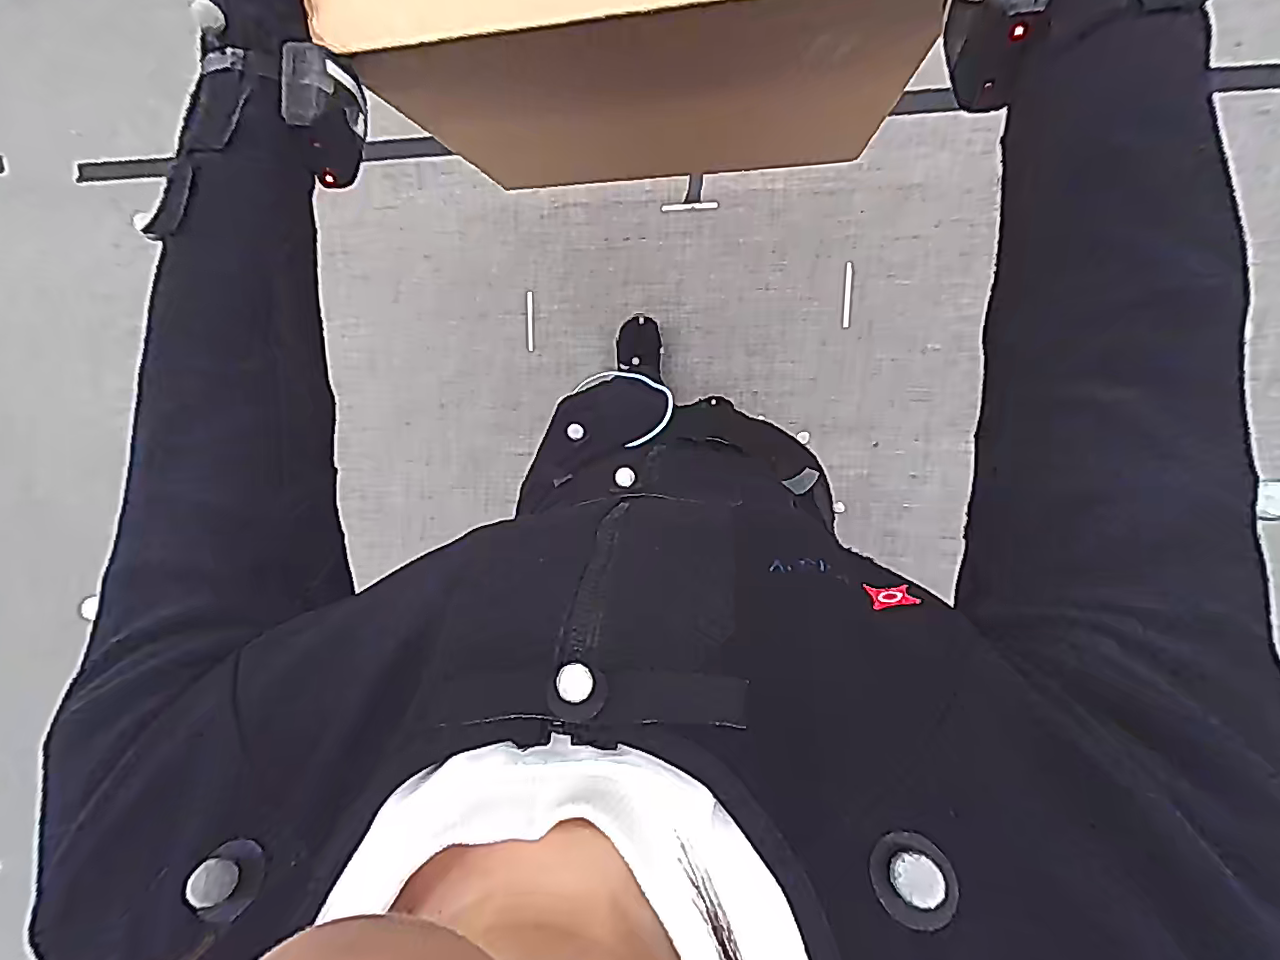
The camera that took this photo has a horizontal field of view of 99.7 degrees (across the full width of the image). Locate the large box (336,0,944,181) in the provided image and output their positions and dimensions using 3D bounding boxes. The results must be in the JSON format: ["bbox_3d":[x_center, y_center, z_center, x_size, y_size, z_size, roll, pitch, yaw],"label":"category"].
[{"bbox_3d":[0.010,-0.473,0.440,0.408,0.320,0.320,-1,104,8],"label":"large box"}]
